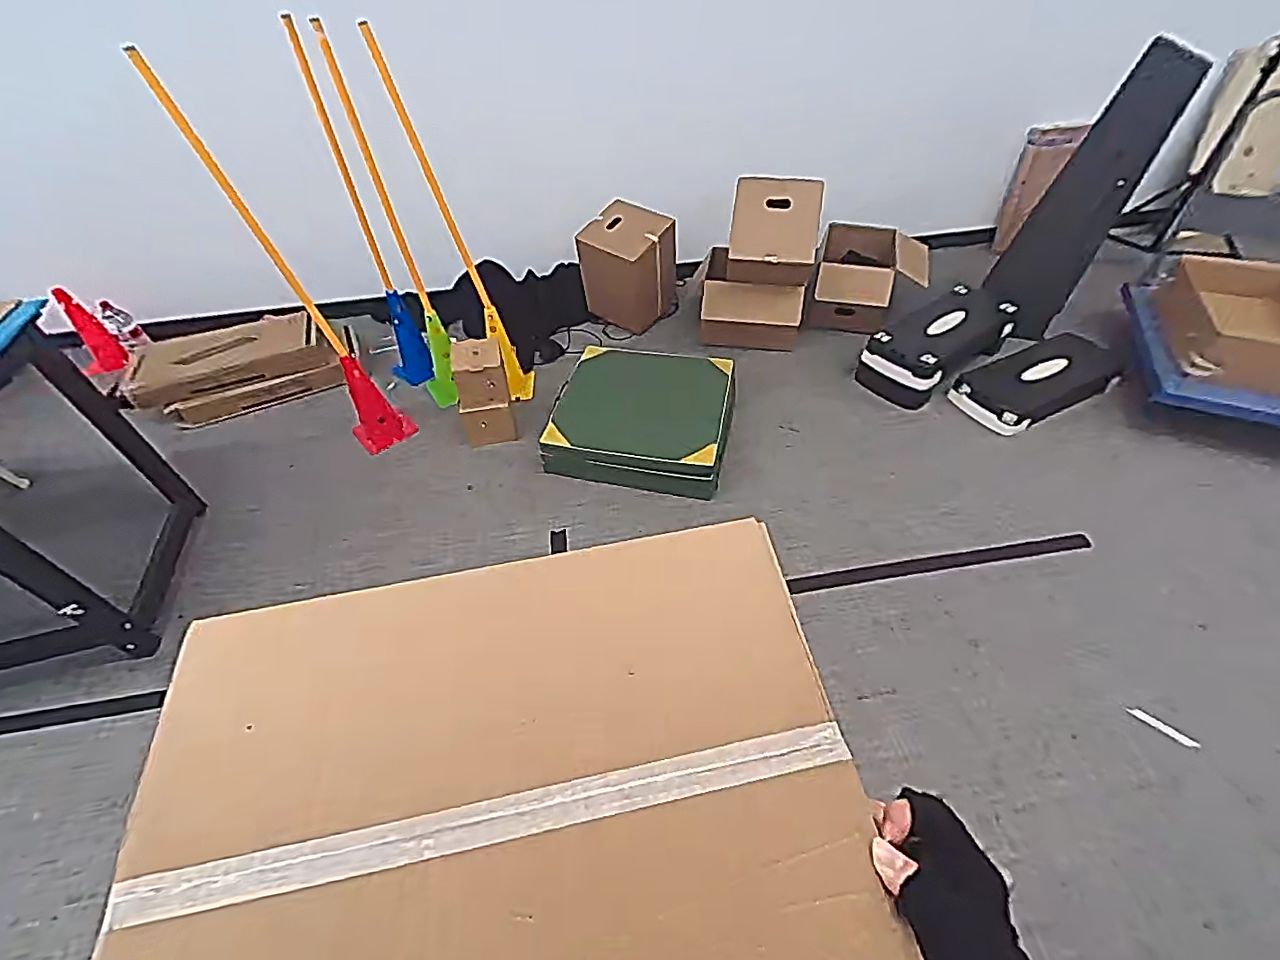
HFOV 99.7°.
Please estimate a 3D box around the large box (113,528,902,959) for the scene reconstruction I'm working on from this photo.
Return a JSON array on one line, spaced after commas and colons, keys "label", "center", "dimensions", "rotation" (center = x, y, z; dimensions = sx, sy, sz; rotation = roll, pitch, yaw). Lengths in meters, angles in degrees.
[{"label": "large box", "center": [-0.076, 0.277, 0.435], "dimensions": [0.408, 0.320, 0.320], "rotation": [-10, 56, -5]}]
